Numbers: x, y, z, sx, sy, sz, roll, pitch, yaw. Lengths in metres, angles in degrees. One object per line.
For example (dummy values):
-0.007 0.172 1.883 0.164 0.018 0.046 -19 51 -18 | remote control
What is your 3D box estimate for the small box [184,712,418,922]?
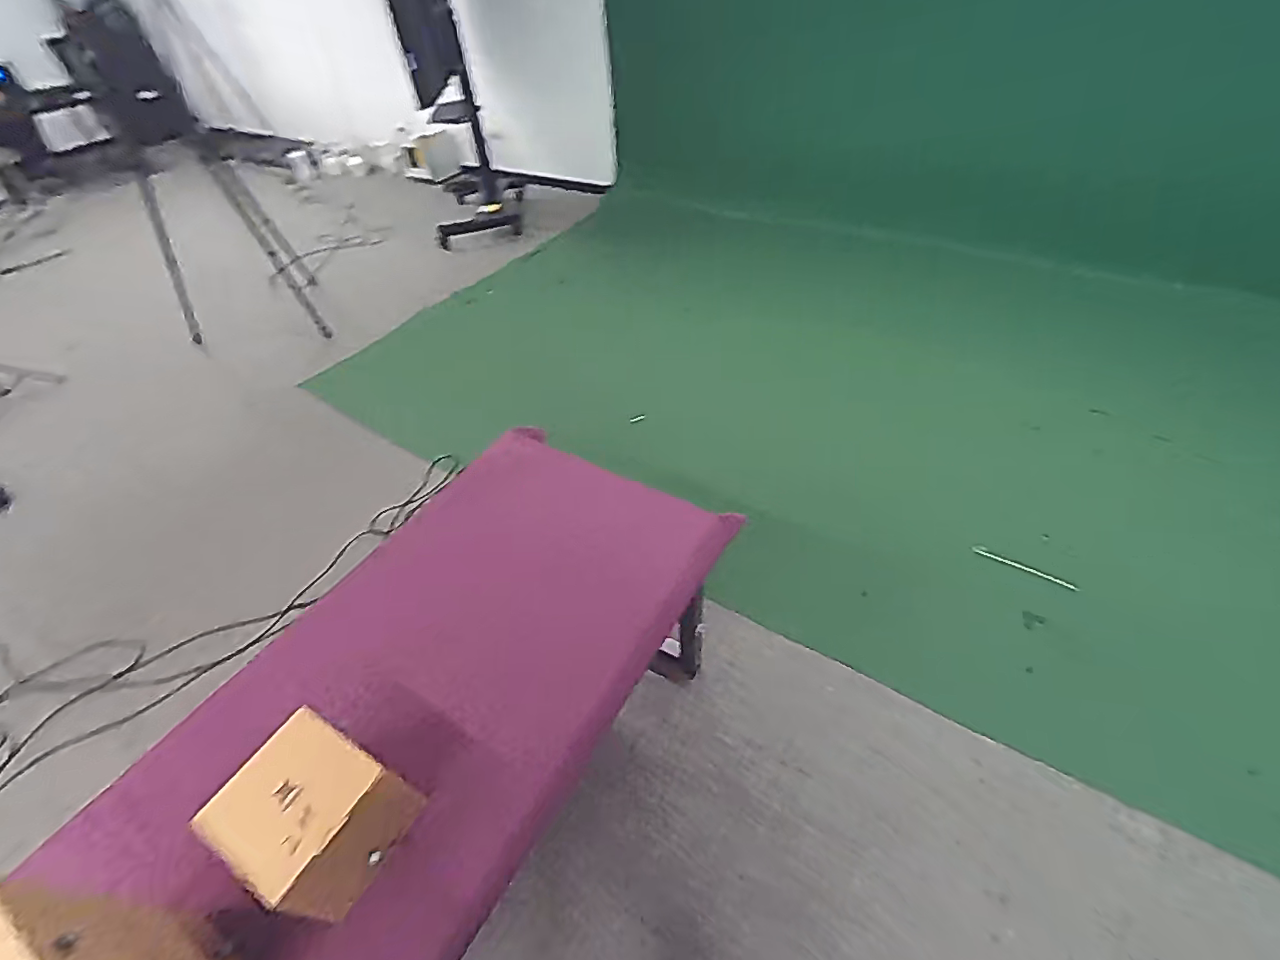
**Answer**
-0.442 0.457 0.731 0.179 0.176 0.168 20 51 22 | small box
